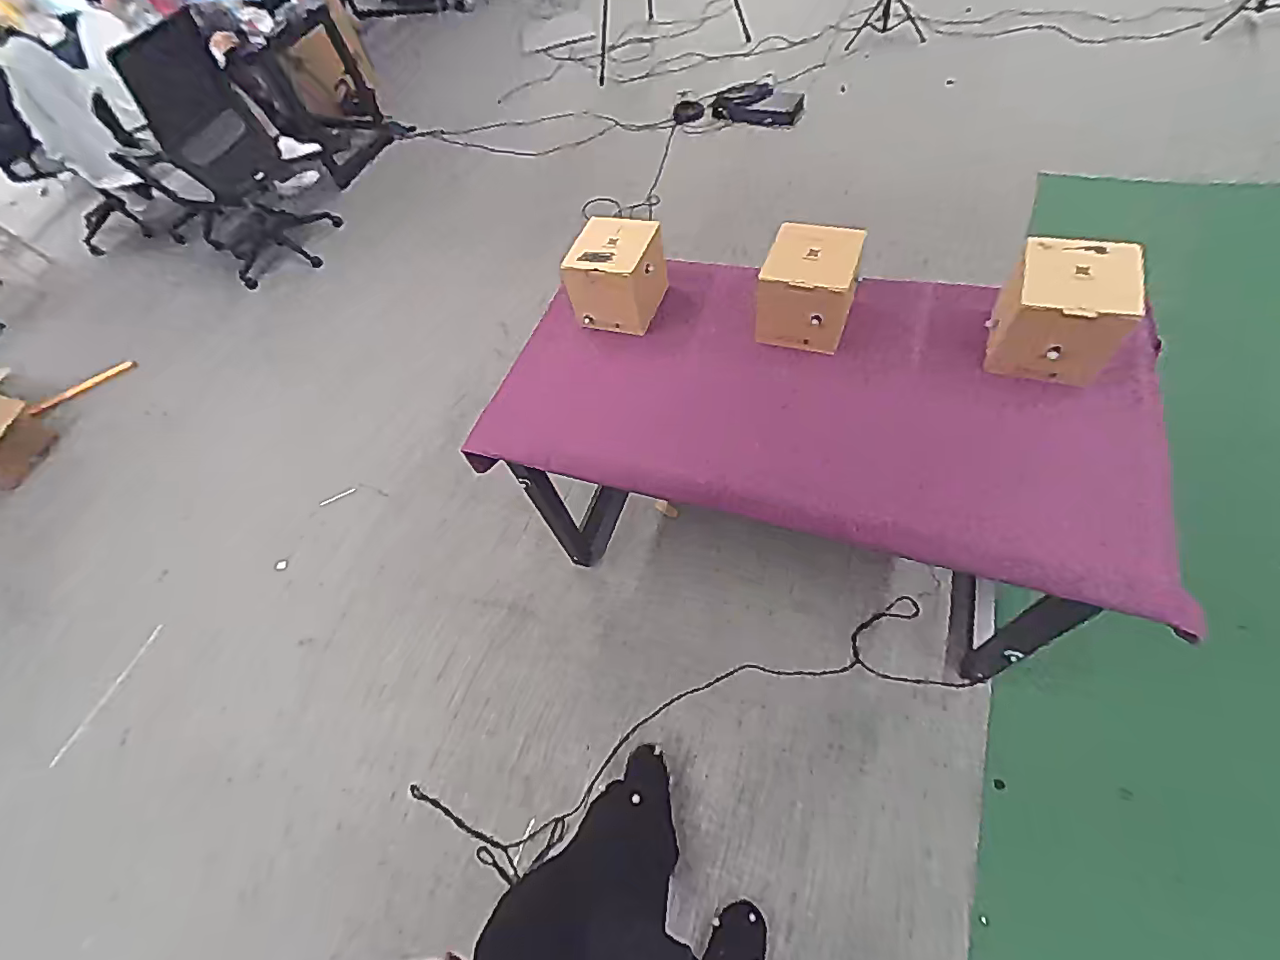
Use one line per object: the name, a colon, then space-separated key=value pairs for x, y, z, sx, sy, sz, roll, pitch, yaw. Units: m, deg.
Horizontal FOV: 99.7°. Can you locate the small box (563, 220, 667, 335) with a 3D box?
small box: x=-0.046 y=-0.450 z=1.212 sx=0.168 sy=0.176 sz=0.179 roll=14 pitch=61 yaw=18

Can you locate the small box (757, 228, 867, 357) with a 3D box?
small box: x=0.343 y=-0.377 z=1.095 sx=0.168 sy=0.176 sz=0.179 roll=17 pitch=62 yaw=19

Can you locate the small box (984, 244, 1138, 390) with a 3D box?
small box: x=0.735 y=-0.285 z=0.958 sx=0.168 sy=0.176 sz=0.179 roll=15 pitch=64 yaw=19
